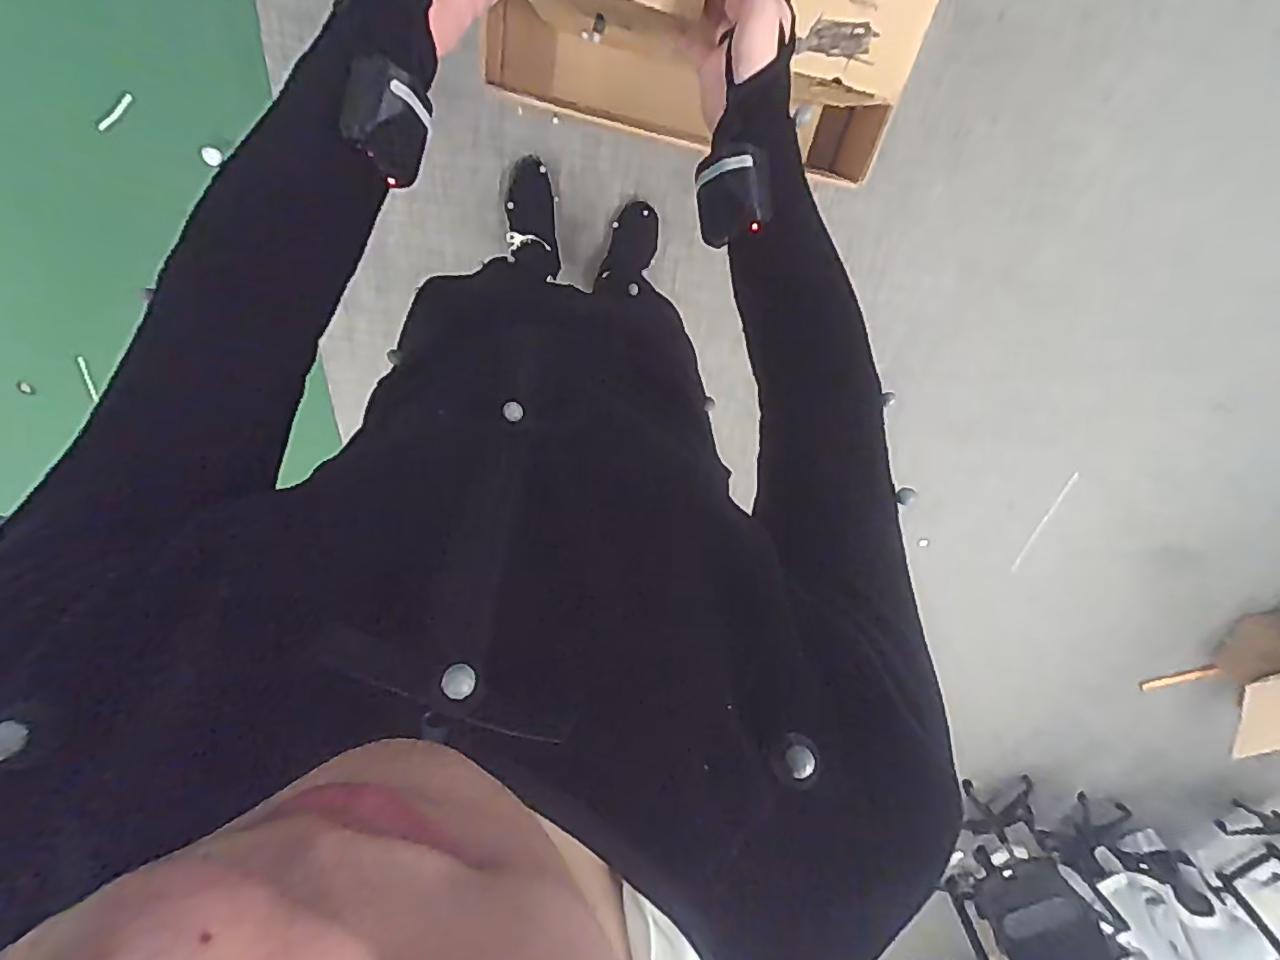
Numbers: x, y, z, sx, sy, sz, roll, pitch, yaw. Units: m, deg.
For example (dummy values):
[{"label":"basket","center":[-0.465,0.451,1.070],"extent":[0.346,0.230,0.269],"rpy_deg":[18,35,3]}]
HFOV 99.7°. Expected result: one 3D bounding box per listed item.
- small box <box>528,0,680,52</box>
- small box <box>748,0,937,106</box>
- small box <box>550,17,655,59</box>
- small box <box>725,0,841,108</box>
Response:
[{"label":"small box","center":[-0.027,-0.617,0.613],"extent":[0.168,0.176,0.179],"rpy_deg":[9,123,-11]},{"label":"small box","center":[0.243,-0.579,0.659],"extent":[0.168,0.176,0.179],"rpy_deg":[9,123,-10]},{"label":"small box","center":[-0.037,-0.716,0.743],"extent":[0.168,0.176,0.179],"rpy_deg":[12,122,-10]},{"label":"small box","center":[0.233,-0.671,0.795],"extent":[0.168,0.176,0.179],"rpy_deg":[9,123,-10]}]
